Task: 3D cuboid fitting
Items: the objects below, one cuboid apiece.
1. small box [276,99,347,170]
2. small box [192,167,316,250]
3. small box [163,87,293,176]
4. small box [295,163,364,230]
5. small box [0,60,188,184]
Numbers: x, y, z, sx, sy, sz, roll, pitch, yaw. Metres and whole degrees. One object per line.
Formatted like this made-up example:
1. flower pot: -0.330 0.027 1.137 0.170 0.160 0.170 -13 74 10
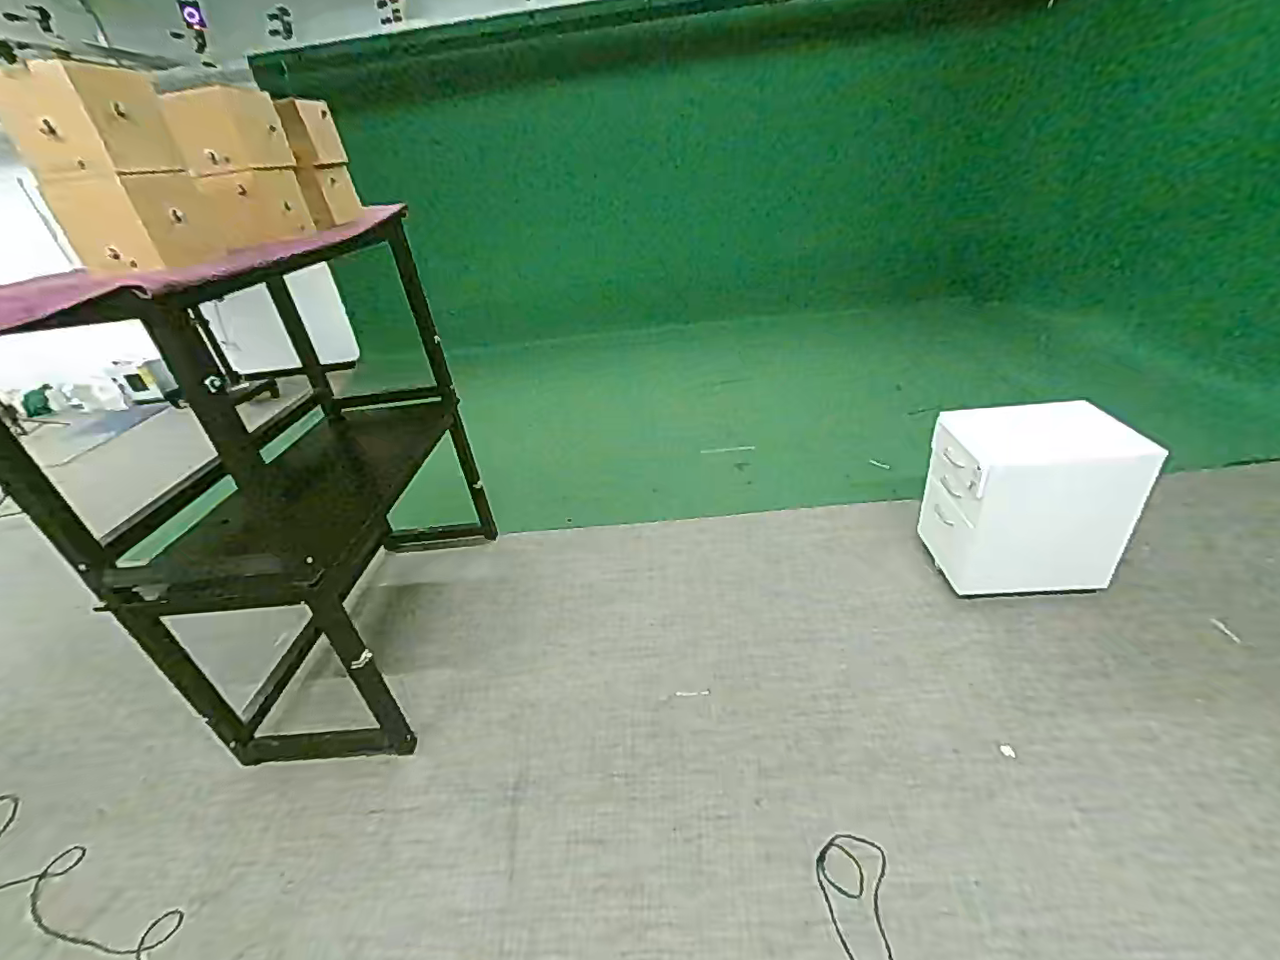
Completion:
1. small box: -1.034 -1.042 1.646 0.168 0.176 0.179 -6 32 6
2. small box: -1.004 -0.717 1.426 0.179 0.176 0.168 -4 31 6
3. small box: -1.010 -0.861 1.350 0.168 0.176 0.179 -5 32 7
4. small box: -1.026 -0.905 1.735 0.168 0.176 0.179 -3 32 10
5. small box: -1.004 -0.651 0.998 0.168 0.176 0.179 -4 32 5
